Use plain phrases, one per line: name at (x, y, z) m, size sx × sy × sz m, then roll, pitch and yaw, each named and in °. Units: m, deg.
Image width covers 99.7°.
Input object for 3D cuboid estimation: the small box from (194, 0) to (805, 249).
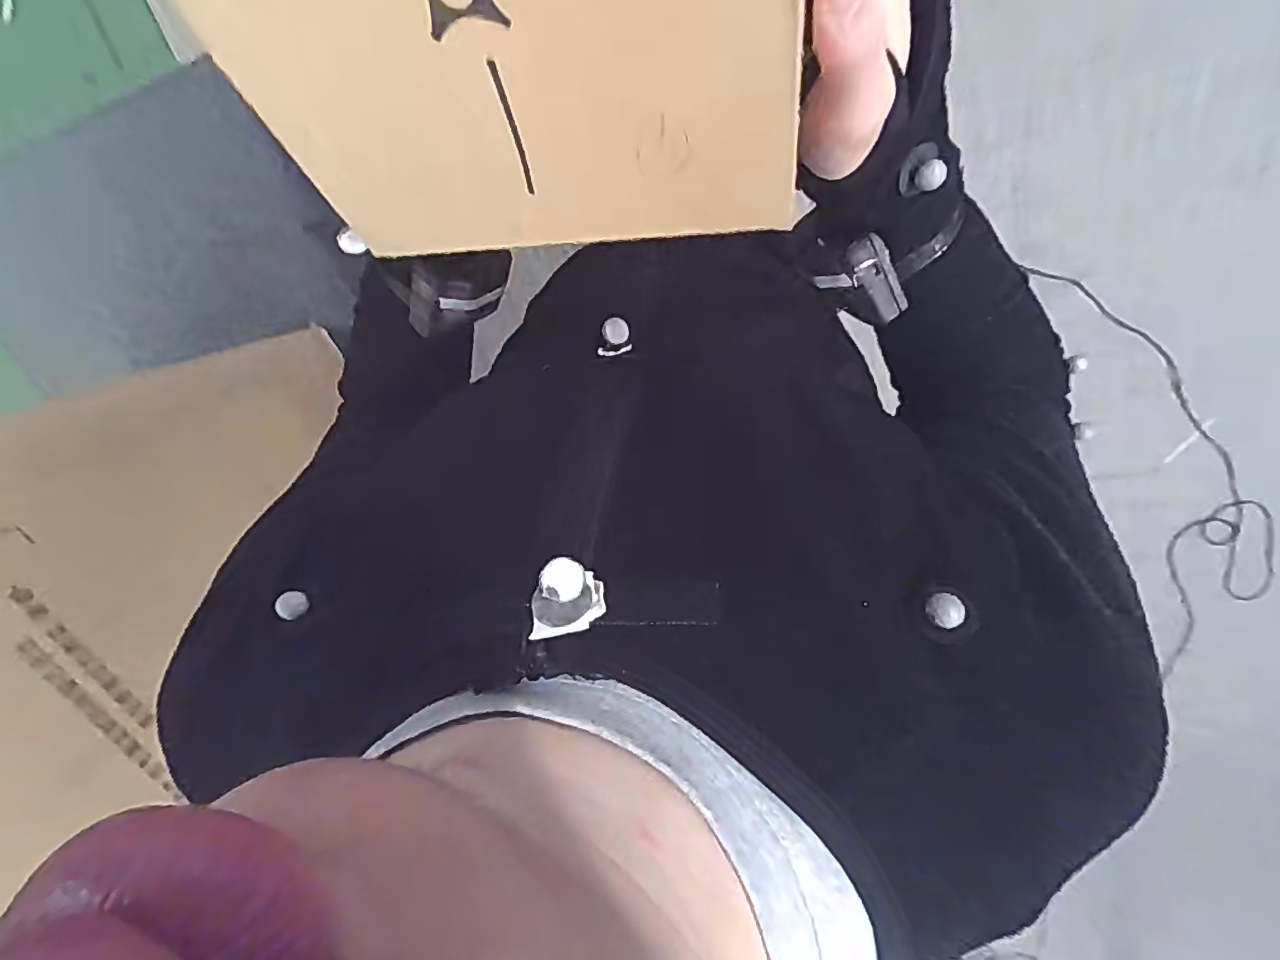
small box at (-0.032, -0.203, 0.165) m, size 0.168 × 0.176 × 0.179 m, roll 3°, pitch 151°, yaw 14°
